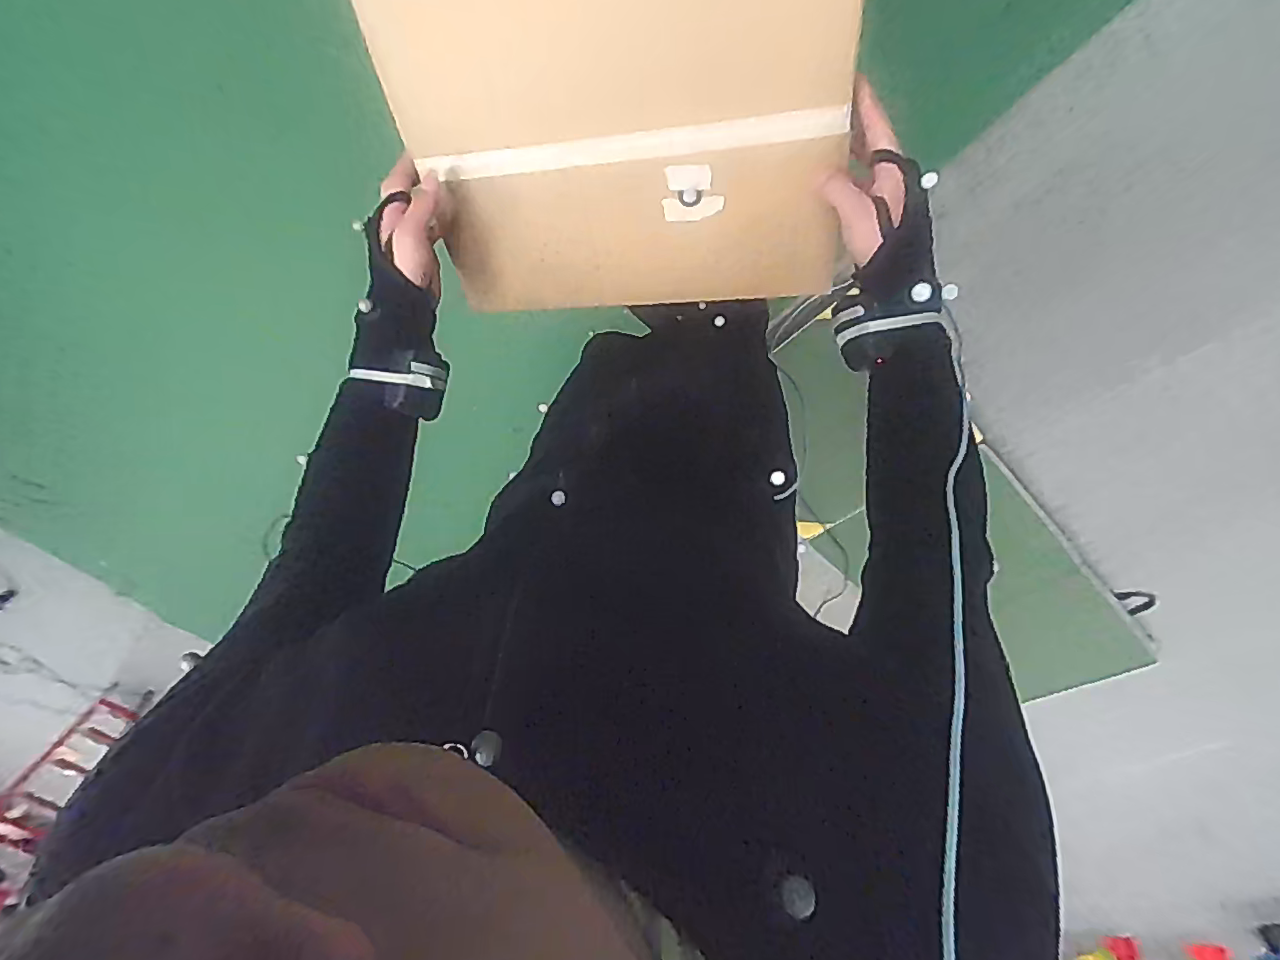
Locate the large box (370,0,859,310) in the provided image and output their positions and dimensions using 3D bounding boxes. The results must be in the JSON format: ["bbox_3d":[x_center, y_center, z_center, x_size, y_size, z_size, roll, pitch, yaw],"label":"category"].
[{"bbox_3d":[0.003,-0.415,0.610,0.408,0.320,0.320,1,136,11],"label":"large box"}]
